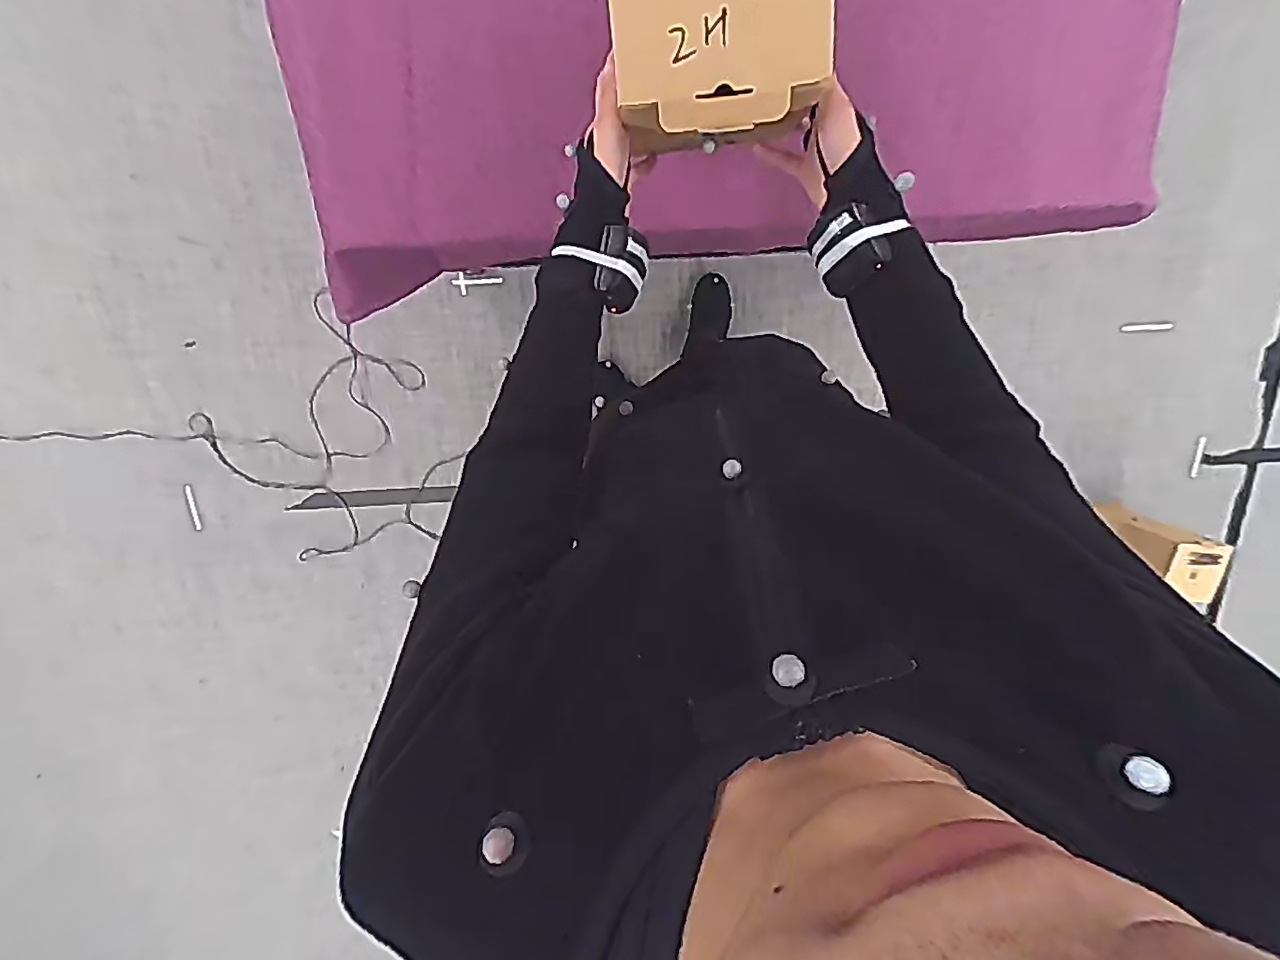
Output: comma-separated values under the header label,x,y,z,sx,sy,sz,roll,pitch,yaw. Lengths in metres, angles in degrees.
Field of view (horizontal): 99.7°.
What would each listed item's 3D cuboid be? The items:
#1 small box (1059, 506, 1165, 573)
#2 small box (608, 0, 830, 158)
label,x,y,z,sx,sy,sz,roll,pitch,yaw
small box,1.486,0.185,1.716,0.179,0.176,0.168,0,107,-4
small box,0.057,-0.402,0.464,0.168,0.176,0.179,-4,109,4
